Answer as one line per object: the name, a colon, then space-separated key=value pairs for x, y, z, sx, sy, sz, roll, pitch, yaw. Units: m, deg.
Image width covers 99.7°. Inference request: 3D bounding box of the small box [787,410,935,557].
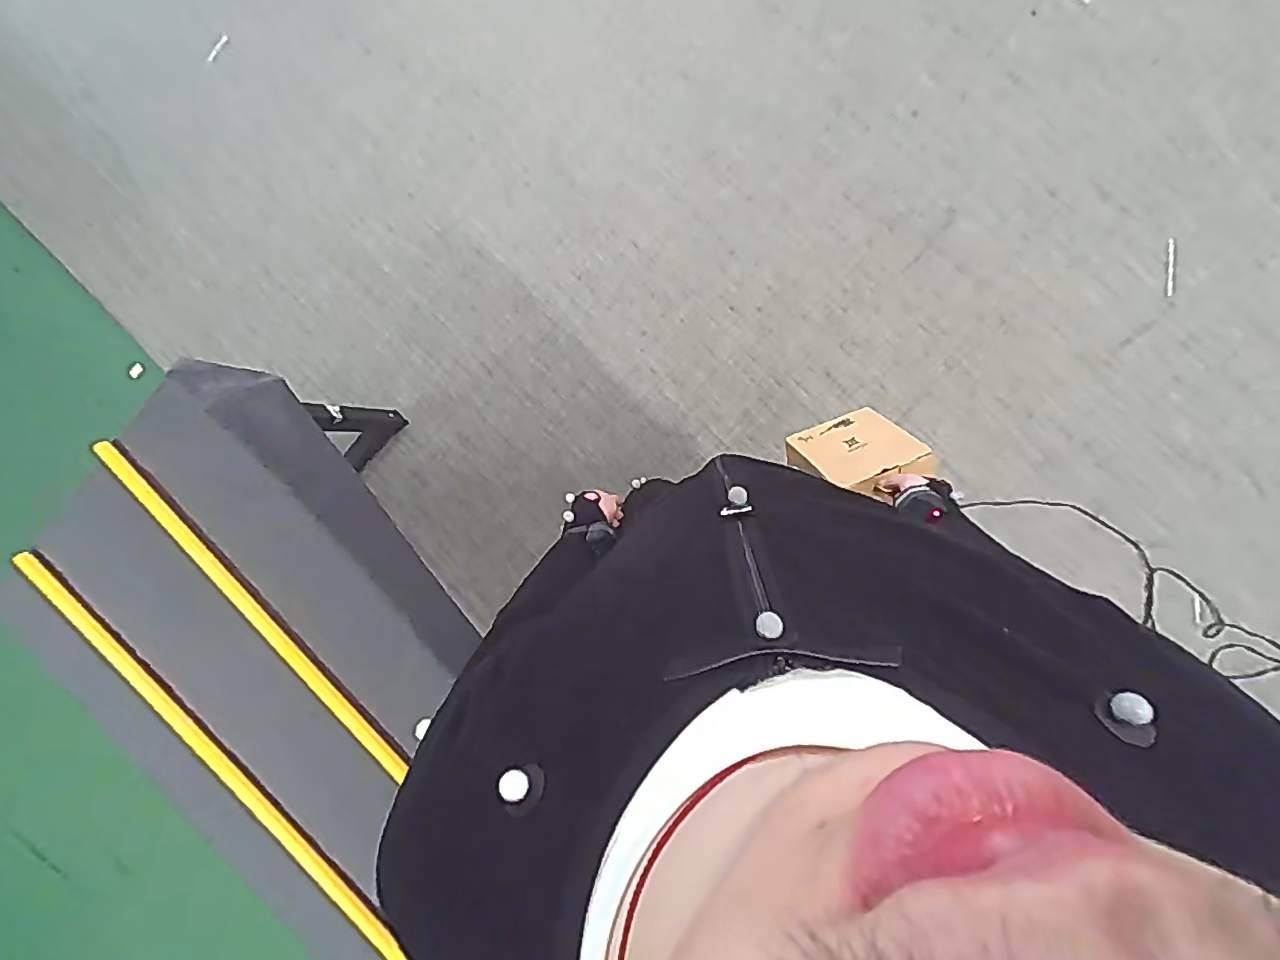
small box: x=0.379 y=0.011 z=0.937 sx=0.168 sy=0.179 sz=0.176 roll=-23 pitch=125 yaw=-5
